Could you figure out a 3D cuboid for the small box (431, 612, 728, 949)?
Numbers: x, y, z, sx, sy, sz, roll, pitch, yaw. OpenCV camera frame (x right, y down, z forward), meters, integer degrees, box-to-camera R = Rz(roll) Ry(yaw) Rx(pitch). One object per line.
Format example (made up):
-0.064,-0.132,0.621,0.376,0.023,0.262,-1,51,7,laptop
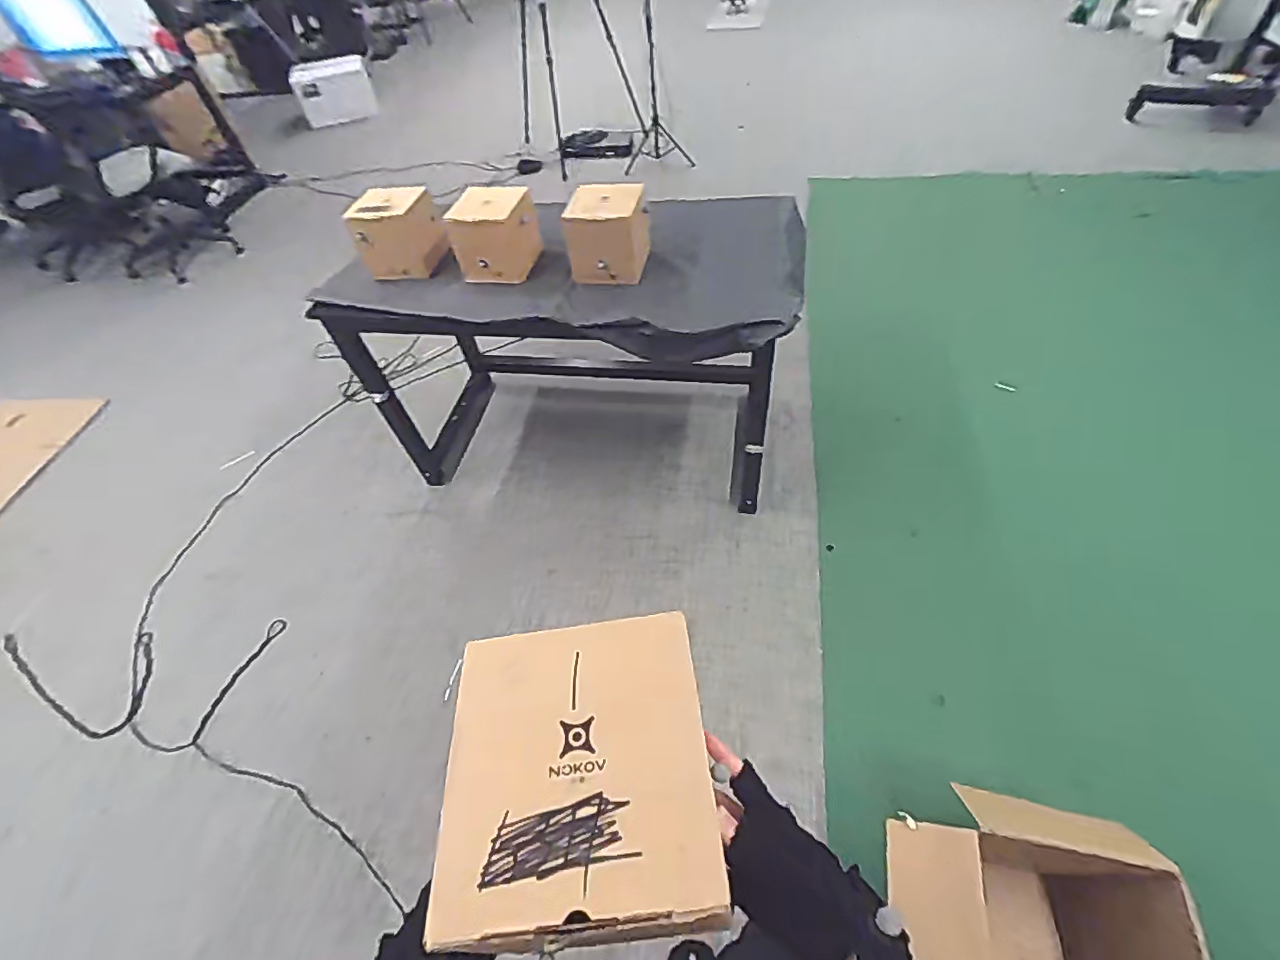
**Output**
-0.030,0.224,0.400,0.168,0.176,0.179,-8,47,1,small box

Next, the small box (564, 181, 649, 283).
-0.073,-0.611,1.333,0.168,0.176,0.179,6,53,11,small box

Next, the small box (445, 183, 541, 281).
-0.366,-0.637,1.387,0.168,0.176,0.179,6,53,10,small box
